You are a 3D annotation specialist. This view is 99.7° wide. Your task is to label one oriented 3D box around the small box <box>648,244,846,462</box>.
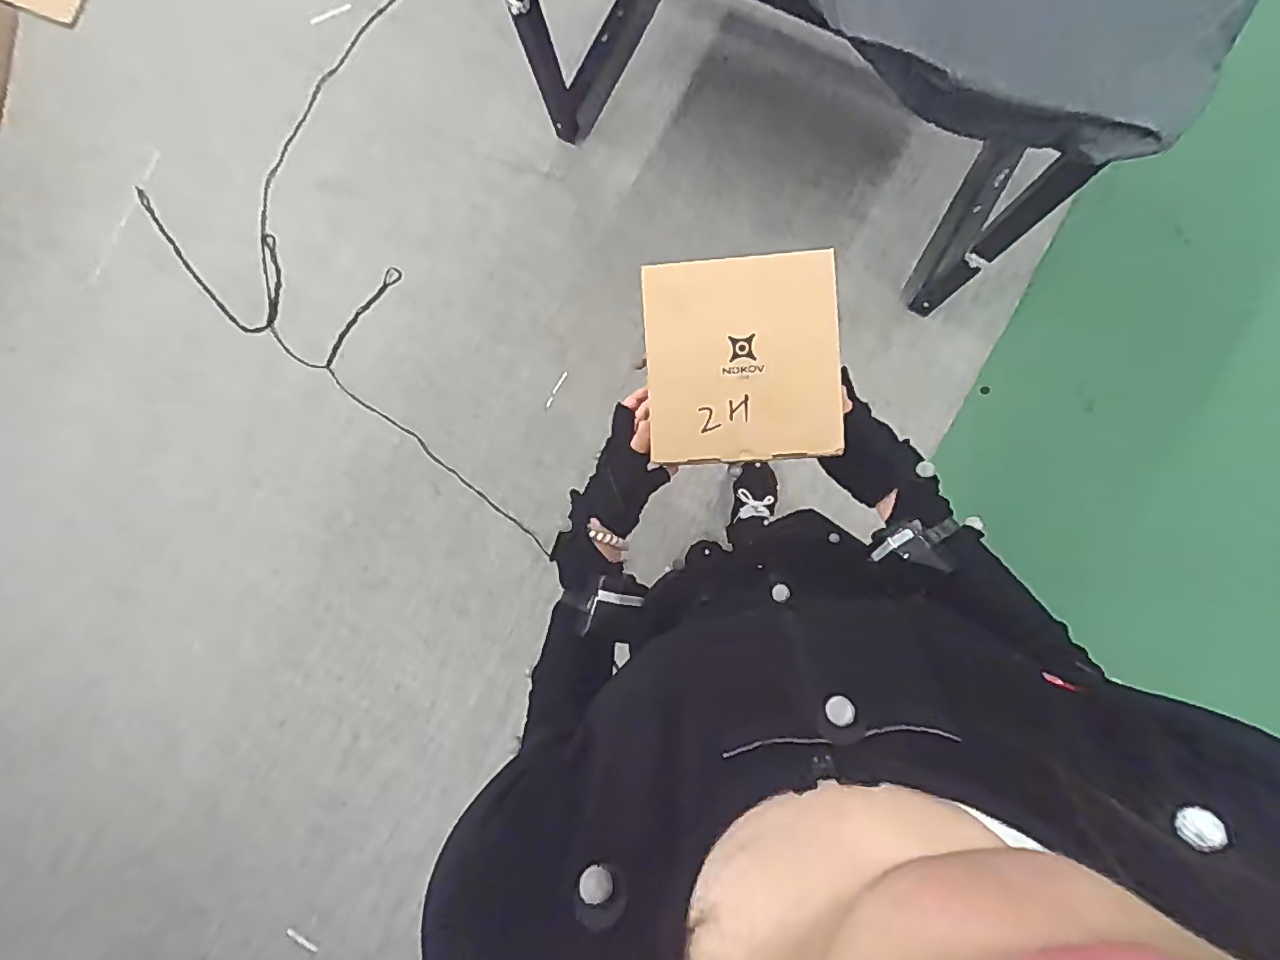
[{"bbox_3d":[0.095,-0.110,0.541,0.168,0.176,0.179,-3,91,5],"label":"small box"}]
